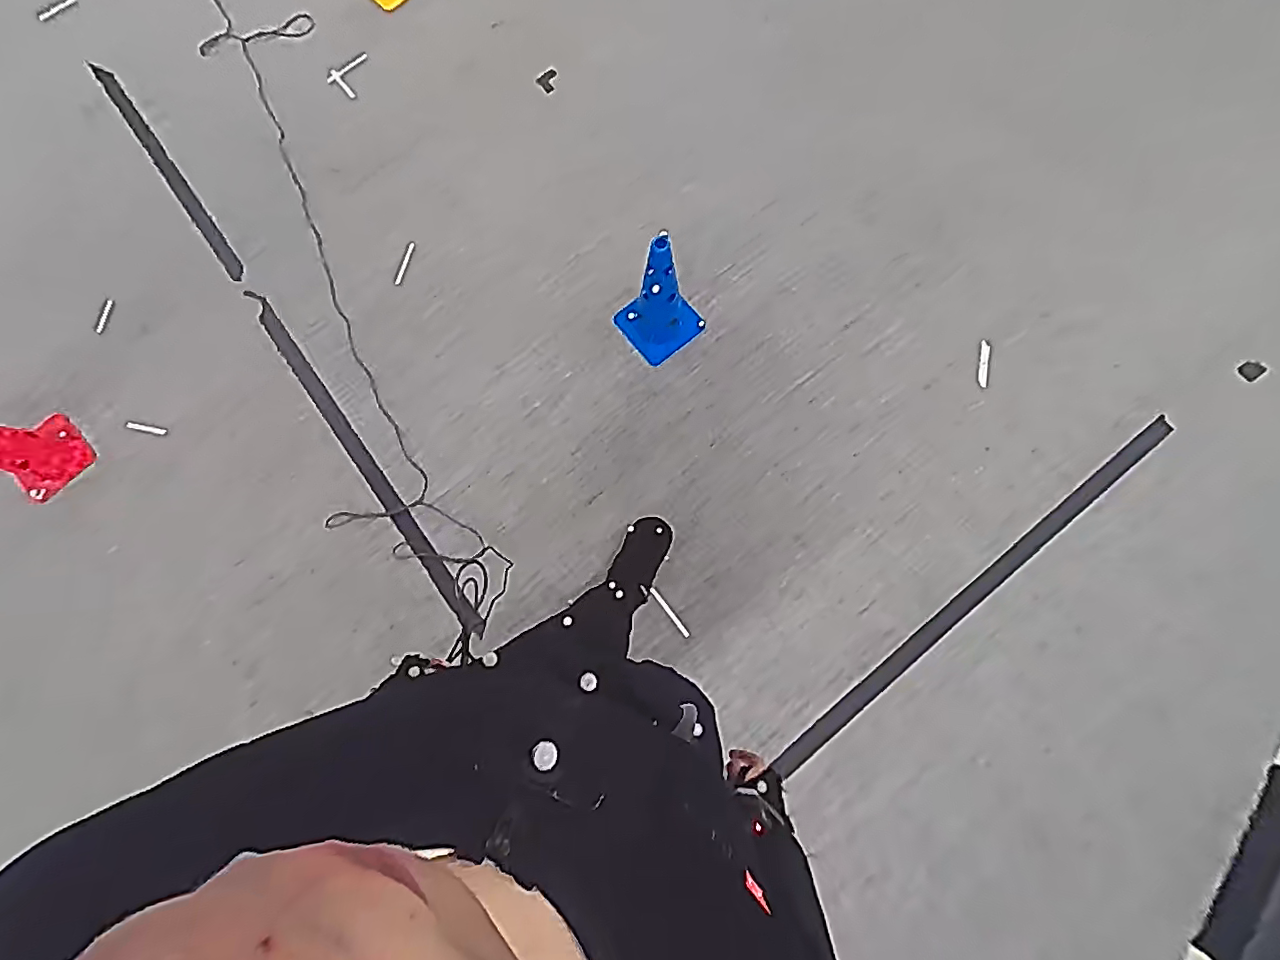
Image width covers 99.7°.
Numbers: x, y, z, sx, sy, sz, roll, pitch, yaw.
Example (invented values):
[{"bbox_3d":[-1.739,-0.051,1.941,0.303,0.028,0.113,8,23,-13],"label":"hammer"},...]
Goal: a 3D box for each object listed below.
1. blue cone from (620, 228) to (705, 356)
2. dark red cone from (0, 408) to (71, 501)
[{"bbox_3d":[0.056,-0.486,1.346,0.192,0.380,0.193,-37,80,-6],"label":"blue cone"},{"bbox_3d":[-1.662,-0.104,1.301,0.202,0.394,0.201,44,82,9],"label":"dark red cone"}]
